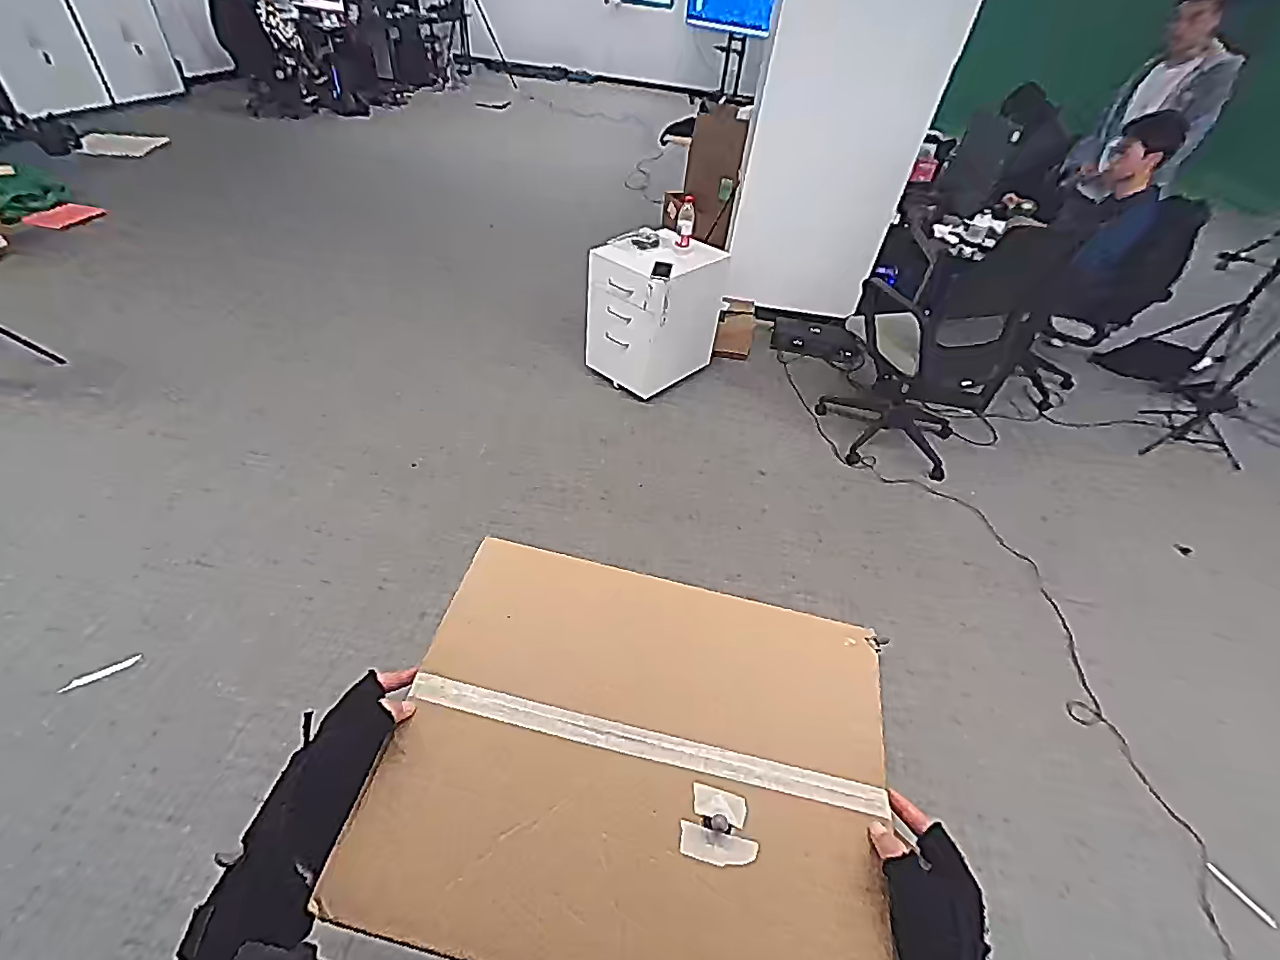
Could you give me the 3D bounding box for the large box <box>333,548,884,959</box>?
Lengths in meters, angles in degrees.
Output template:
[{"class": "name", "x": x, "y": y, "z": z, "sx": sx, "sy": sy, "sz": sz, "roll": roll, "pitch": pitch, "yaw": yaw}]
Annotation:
[{"class": "large box", "x": -0.014, "y": 0.320, "z": 0.578, "sx": 0.408, "sy": 0.320, "sz": 0.320, "roll": 14, "pitch": 51, "yaw": 3}]
